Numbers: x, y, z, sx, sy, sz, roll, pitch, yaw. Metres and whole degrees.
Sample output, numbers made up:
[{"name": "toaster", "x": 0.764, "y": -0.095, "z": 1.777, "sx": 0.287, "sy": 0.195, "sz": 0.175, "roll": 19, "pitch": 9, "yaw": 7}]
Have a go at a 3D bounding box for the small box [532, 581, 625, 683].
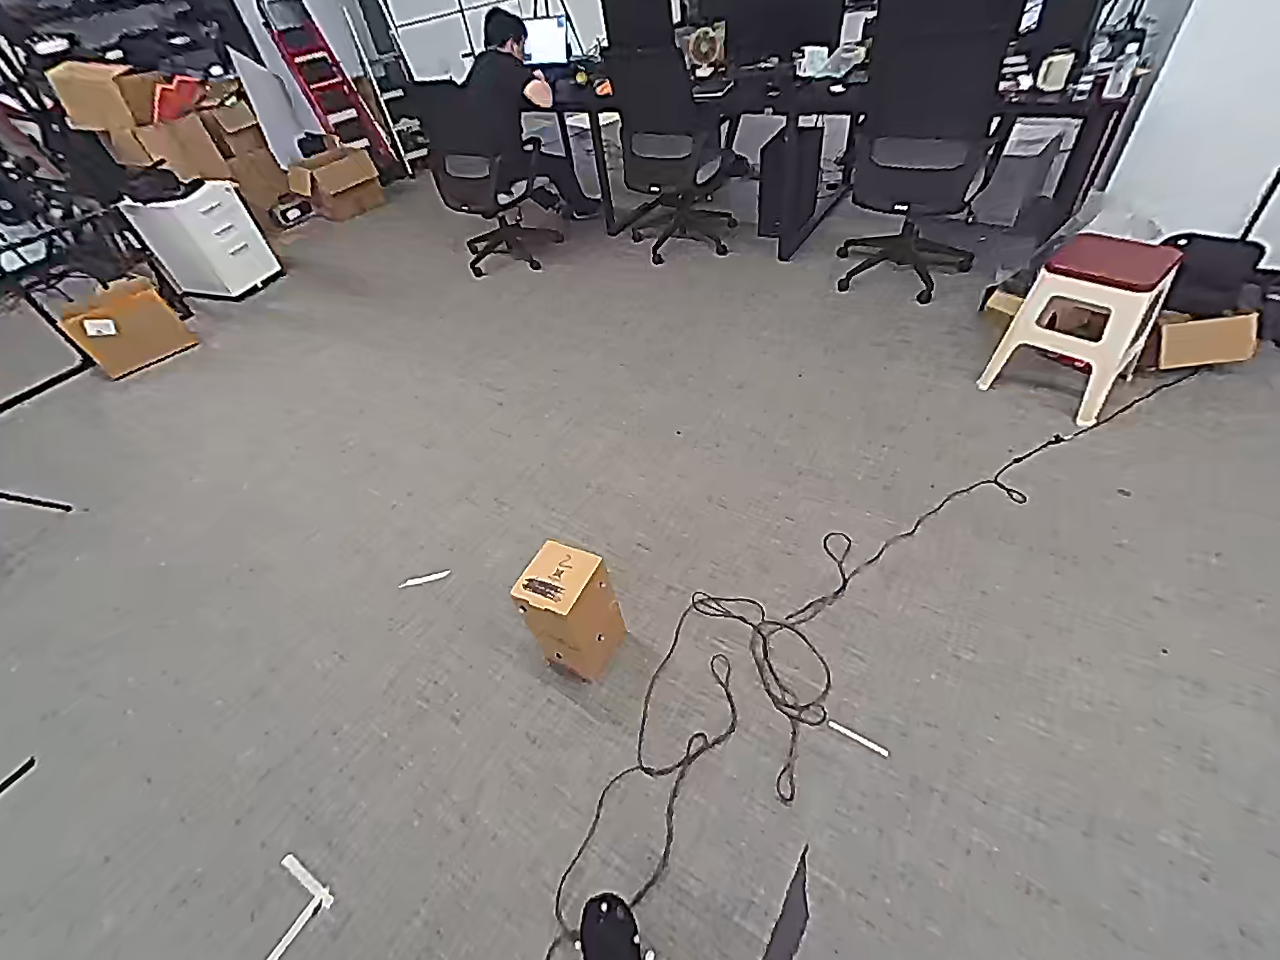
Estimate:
[{"name": "small box", "x": -0.157, "y": 0.413, "z": 1.455, "sx": 0.168, "sy": 0.176, "sz": 0.179, "roll": 19, "pitch": 52, "yaw": 26}]
